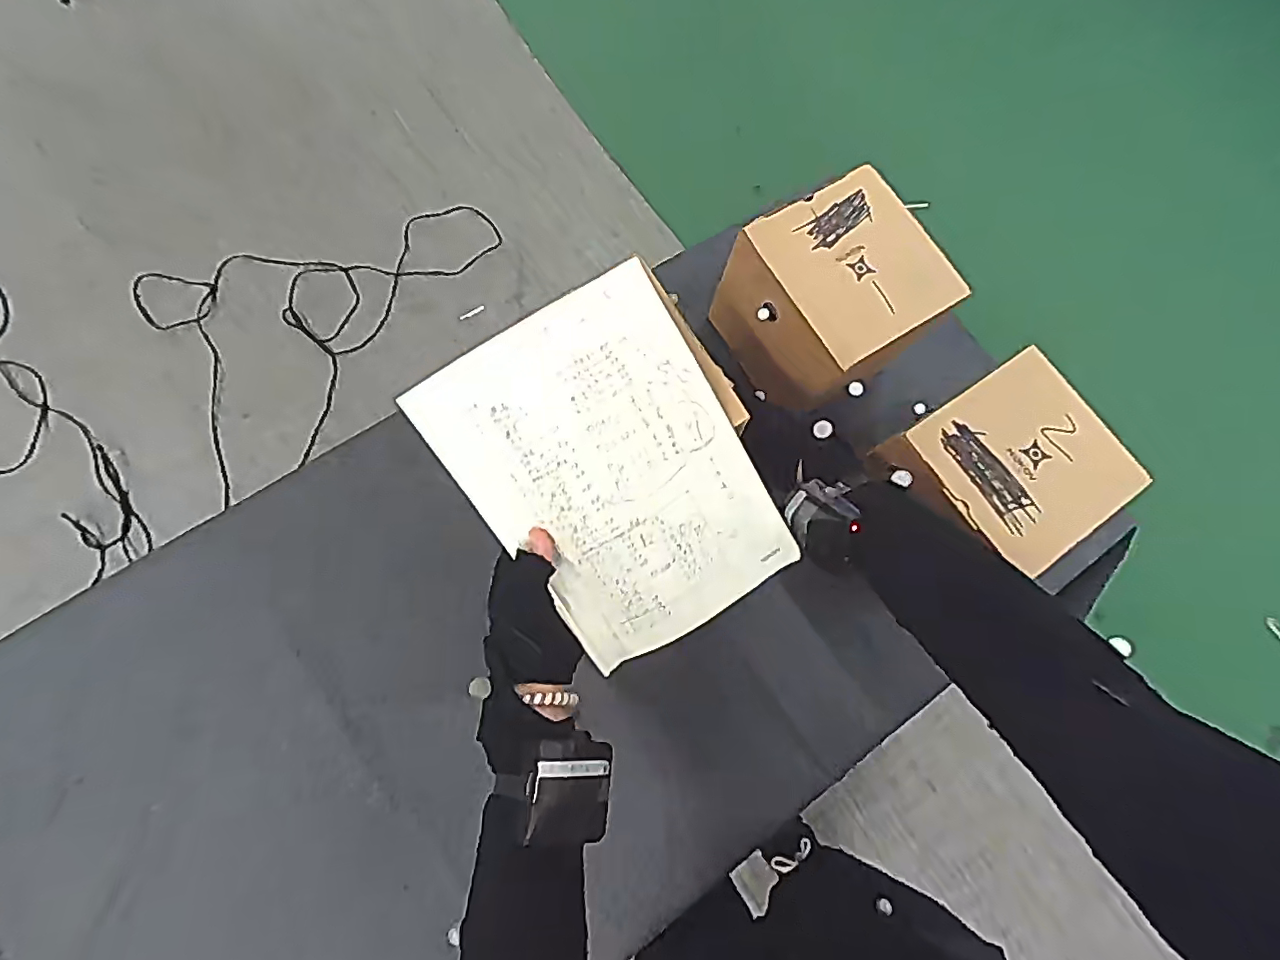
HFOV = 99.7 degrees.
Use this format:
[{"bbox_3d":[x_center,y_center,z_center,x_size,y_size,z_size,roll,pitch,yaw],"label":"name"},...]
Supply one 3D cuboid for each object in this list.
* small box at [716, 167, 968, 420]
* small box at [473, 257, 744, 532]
[{"bbox_3d":[0.207,-0.197,0.610,0.168,0.176,0.179,-30,81,-10],"label":"small box"},{"bbox_3d":[-0.022,-0.062,0.516,0.168,0.176,0.179,-32,77,-2],"label":"small box"}]
